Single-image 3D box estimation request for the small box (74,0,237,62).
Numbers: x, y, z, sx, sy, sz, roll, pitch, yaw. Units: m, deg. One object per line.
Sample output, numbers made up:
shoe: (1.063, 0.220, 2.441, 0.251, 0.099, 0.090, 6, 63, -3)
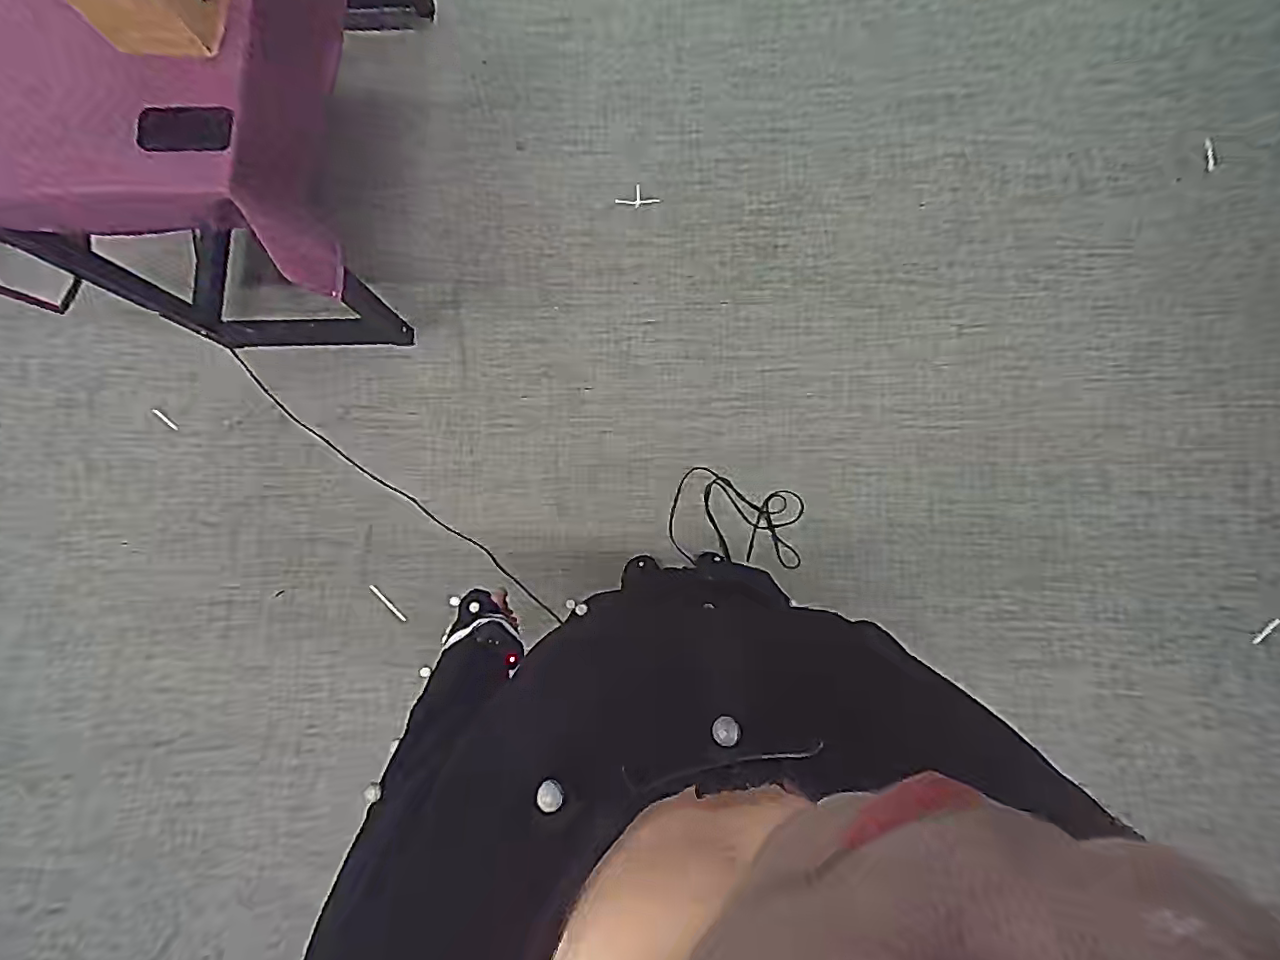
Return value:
small box: (-0.808, -0.822, 0.874, 0.179, 0.176, 0.168, 4, 82, 2)
